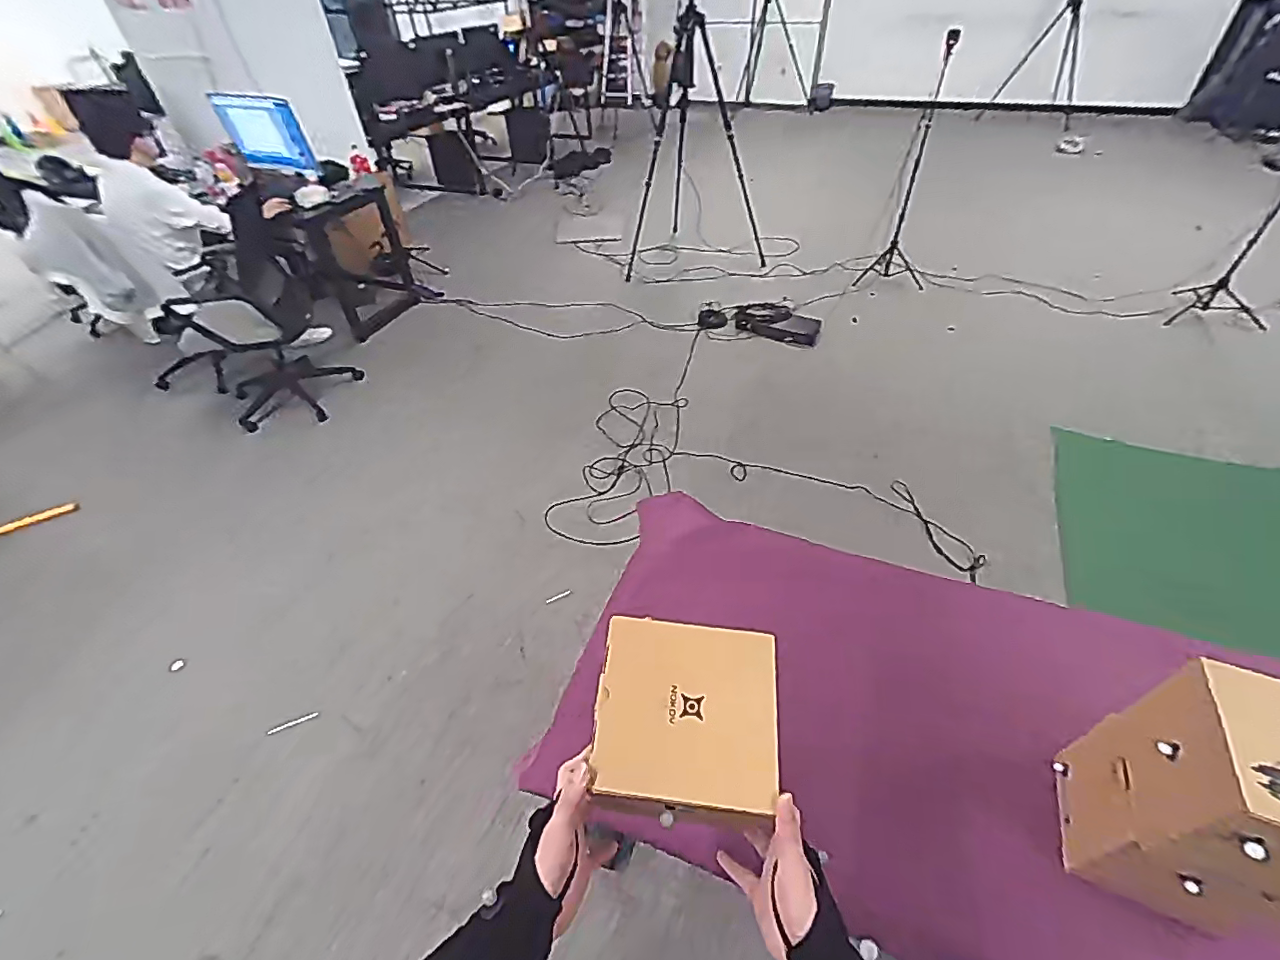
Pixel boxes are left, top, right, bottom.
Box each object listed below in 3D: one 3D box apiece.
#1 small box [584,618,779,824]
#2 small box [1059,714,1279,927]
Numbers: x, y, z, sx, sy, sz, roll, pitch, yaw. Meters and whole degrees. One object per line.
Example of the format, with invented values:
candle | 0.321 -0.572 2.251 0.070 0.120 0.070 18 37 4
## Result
small box | 0.044 0.267 0.589 0.179 0.176 0.168 5 54 3
small box | 0.690 0.450 0.714 0.179 0.176 0.168 17 47 18
